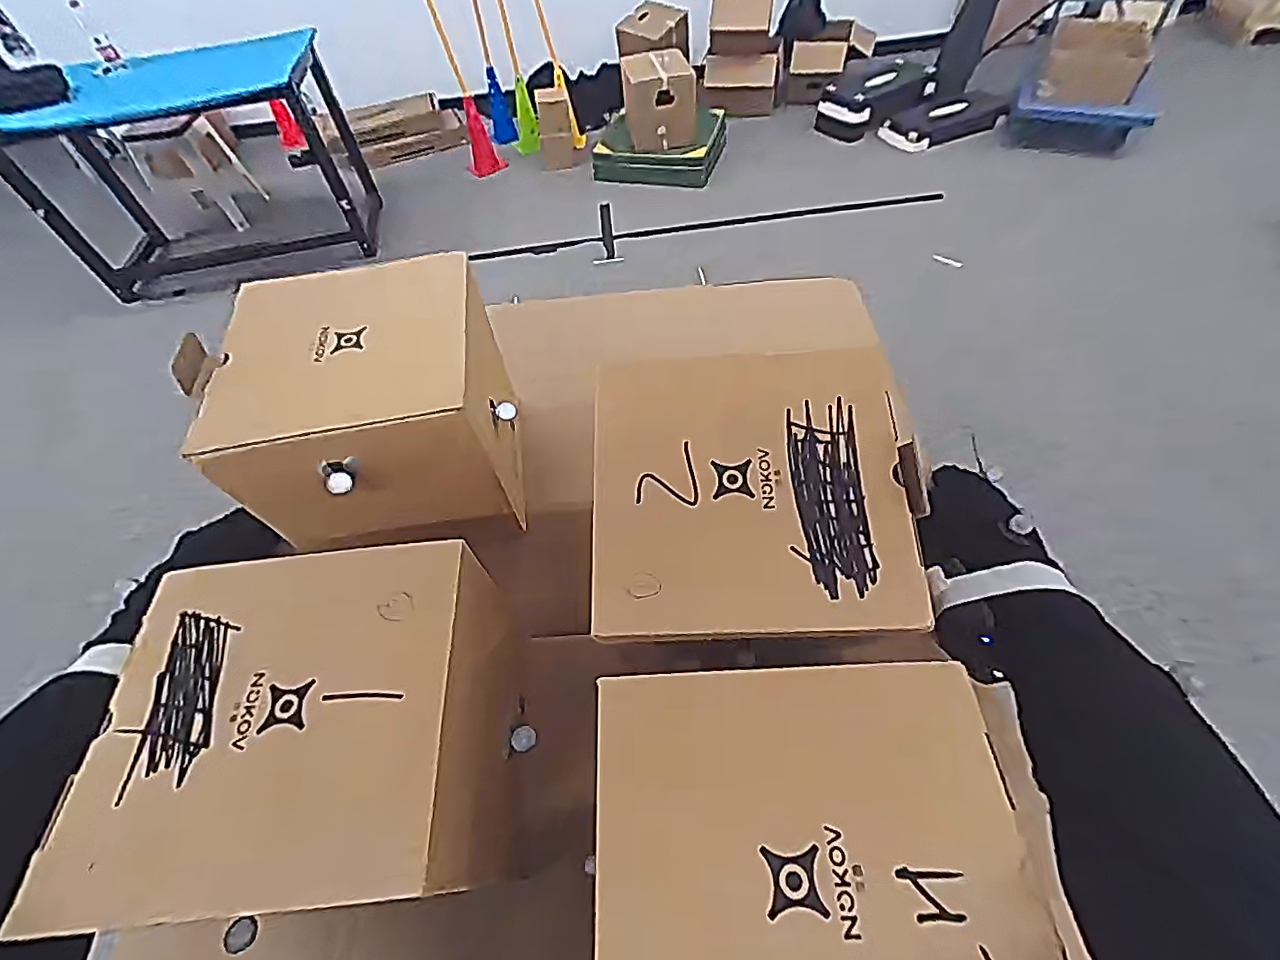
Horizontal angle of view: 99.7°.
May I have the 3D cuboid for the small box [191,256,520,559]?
[{"bbox_3d":[-0.202,-0.052,0.448,0.179,0.176,0.168,-10,57,-2],"label":"small box"}]
